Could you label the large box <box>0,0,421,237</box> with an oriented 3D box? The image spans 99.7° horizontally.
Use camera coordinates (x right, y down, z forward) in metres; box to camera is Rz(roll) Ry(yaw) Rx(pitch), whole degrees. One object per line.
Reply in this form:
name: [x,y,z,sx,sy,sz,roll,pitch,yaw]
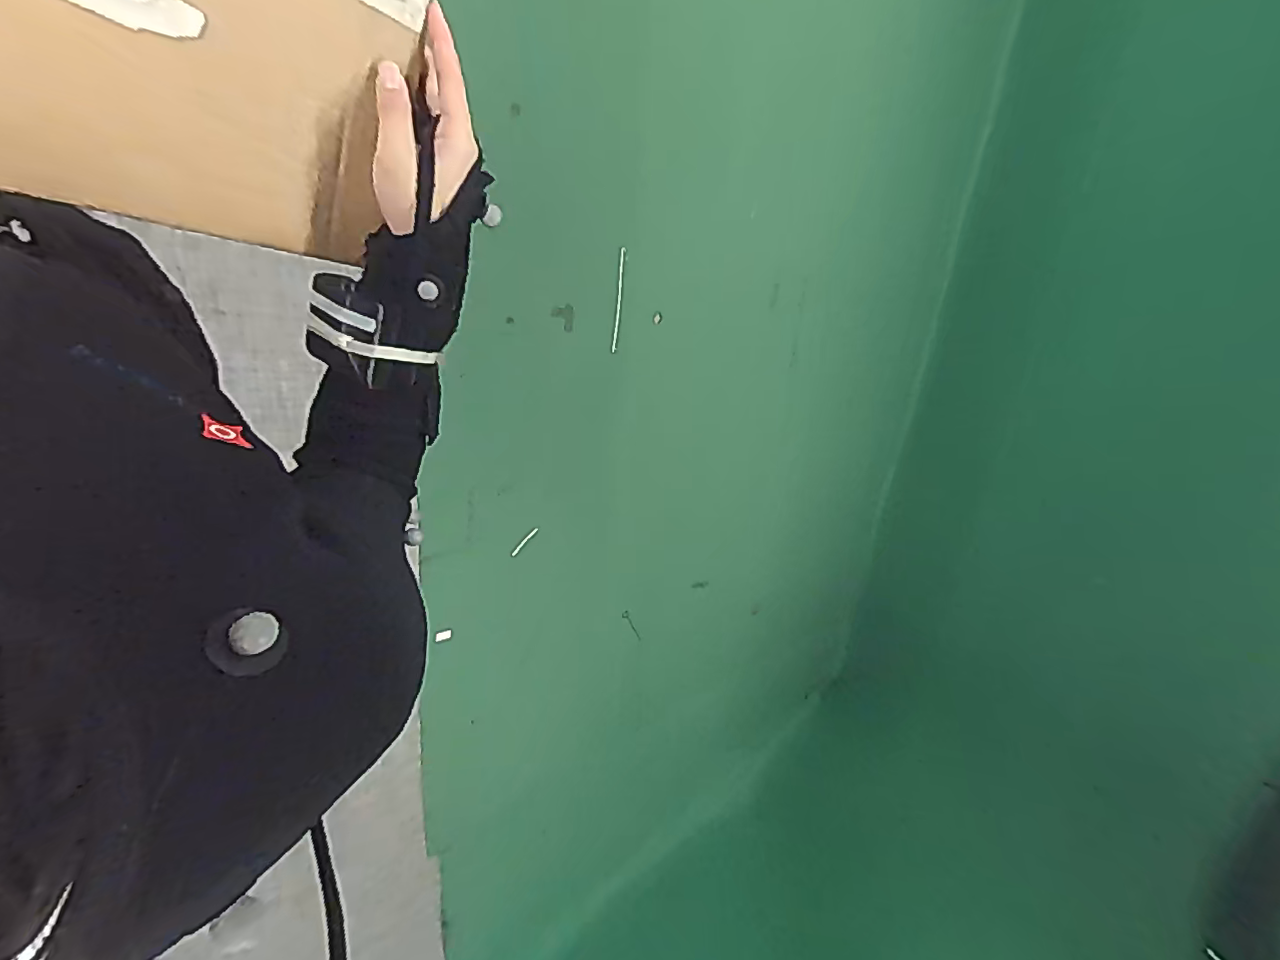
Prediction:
large box: [-0.366,-0.365,0.269,0.408,0.320,0.320,-6,128,-48]
